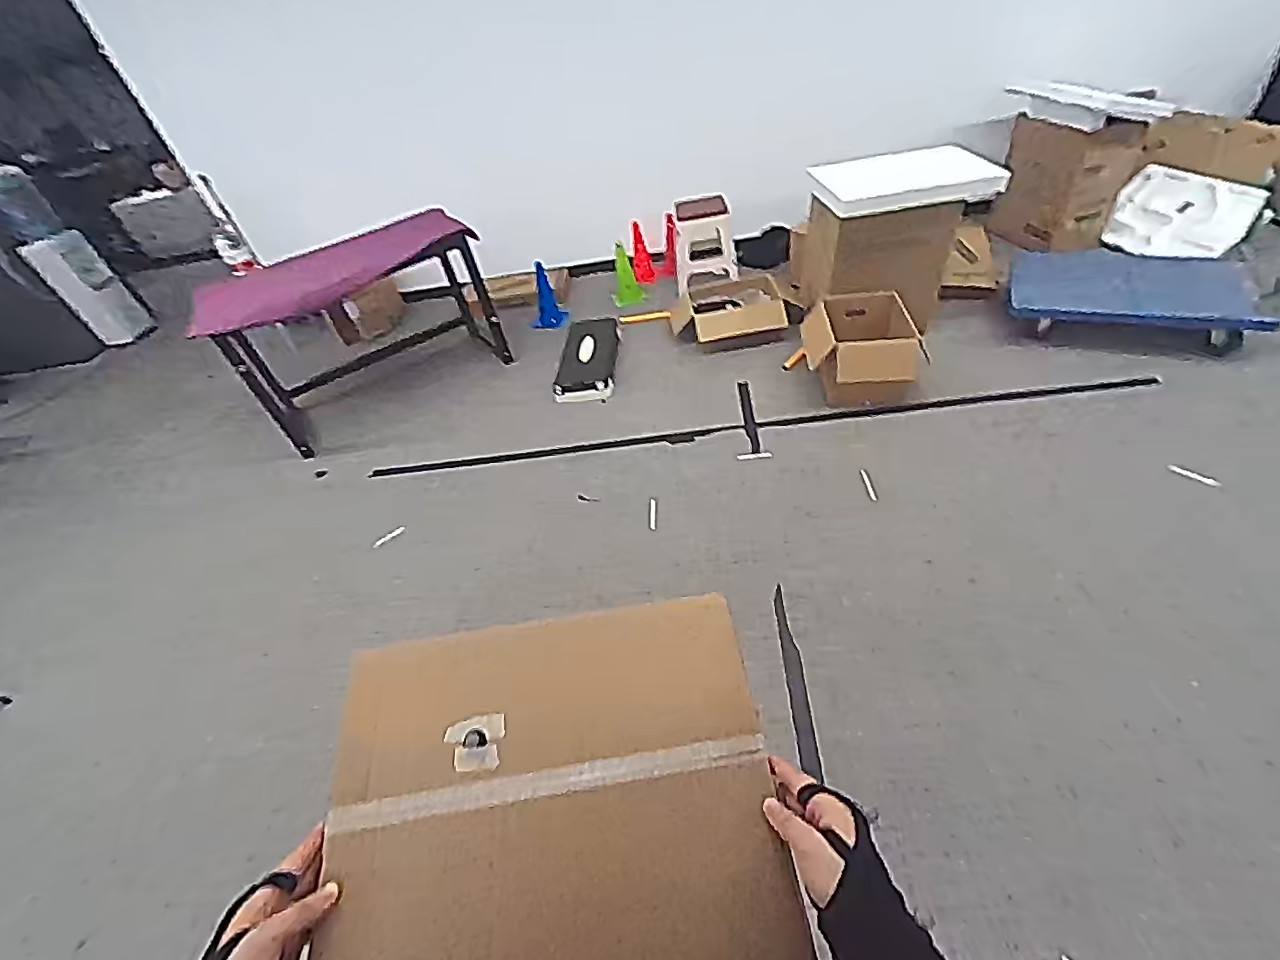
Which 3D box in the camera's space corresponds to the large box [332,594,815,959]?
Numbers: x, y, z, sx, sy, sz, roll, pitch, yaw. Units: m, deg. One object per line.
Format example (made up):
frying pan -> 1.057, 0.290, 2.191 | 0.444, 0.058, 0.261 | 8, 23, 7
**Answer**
large box -> -0.063, 0.365, 0.632 | 0.408, 0.320, 0.320 | -9, 54, -1
